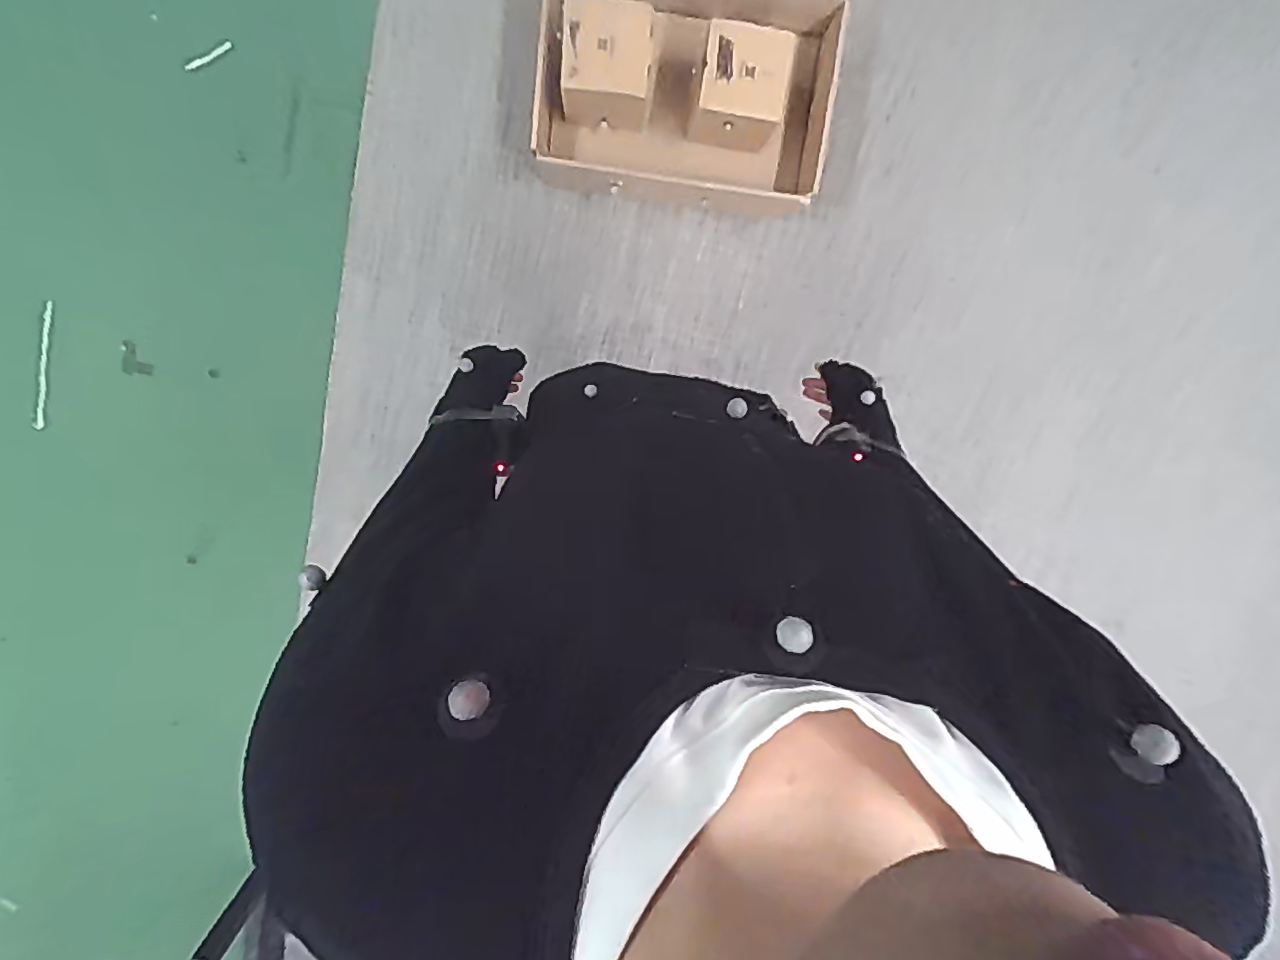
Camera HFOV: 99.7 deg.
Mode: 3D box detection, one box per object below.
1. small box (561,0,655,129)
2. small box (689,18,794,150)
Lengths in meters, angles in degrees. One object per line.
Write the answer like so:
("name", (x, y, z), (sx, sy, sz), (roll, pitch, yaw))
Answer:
("small box", (-0.071, -0.873, 1.146), (0.179, 0.176, 0.168), (4, 101, -6))
("small box", (0.208, -0.842, 1.169), (0.179, 0.176, 0.168), (8, 101, -4))
